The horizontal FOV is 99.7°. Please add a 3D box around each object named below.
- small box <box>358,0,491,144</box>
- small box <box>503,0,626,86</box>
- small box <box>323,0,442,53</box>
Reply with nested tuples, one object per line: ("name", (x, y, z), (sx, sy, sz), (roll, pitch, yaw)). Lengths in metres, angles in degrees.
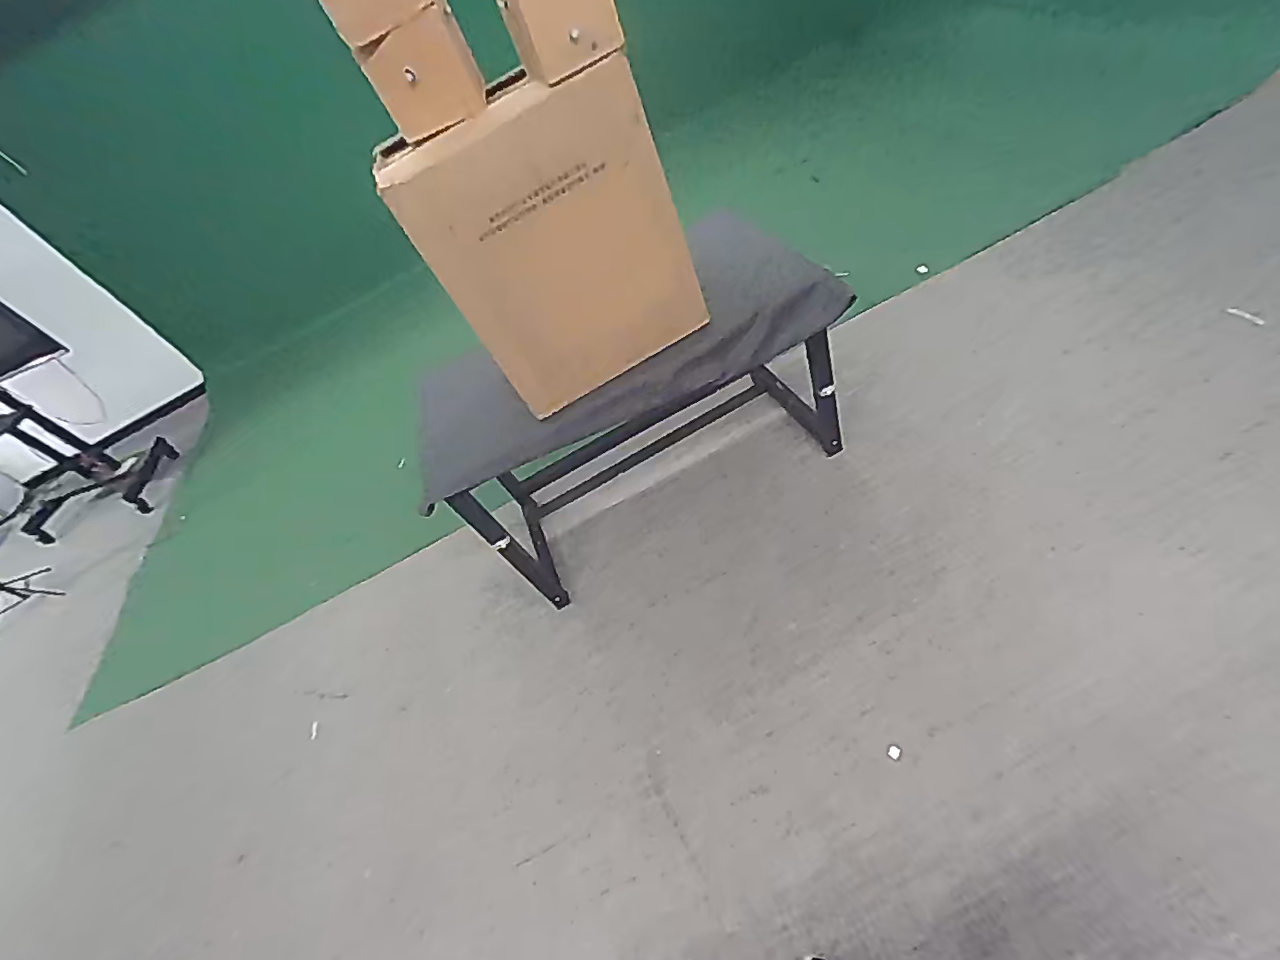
("small box", (-0.414, -0.804, 1.063), (0.179, 0.176, 0.168), (-20, 55, 8))
("small box", (-0.147, -0.868, 1.006), (0.168, 0.176, 0.179), (-30, 46, -1))
("small box", (-0.478, -0.882, 0.935), (0.179, 0.176, 0.168), (-33, 54, -4))
